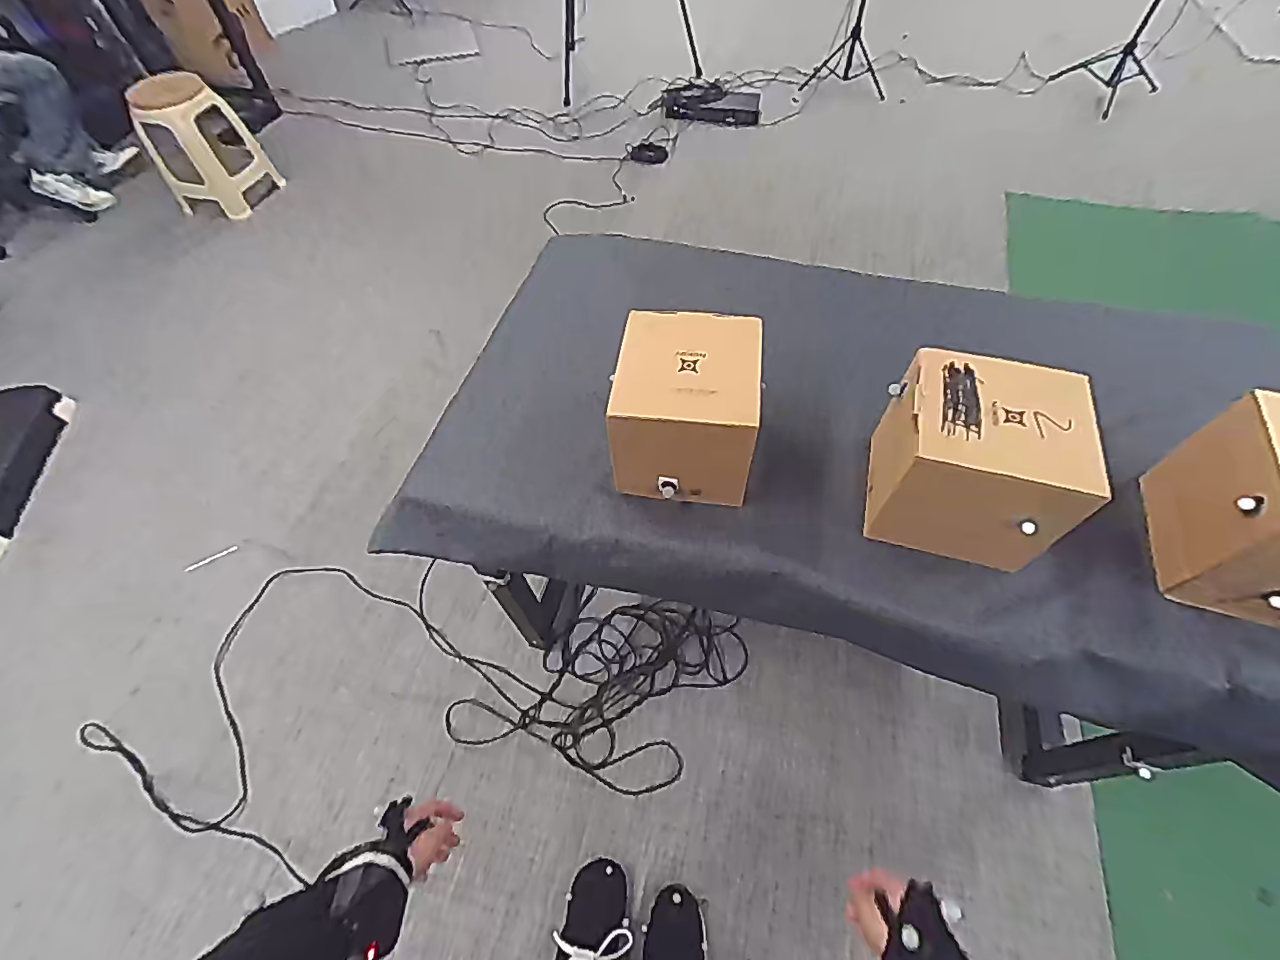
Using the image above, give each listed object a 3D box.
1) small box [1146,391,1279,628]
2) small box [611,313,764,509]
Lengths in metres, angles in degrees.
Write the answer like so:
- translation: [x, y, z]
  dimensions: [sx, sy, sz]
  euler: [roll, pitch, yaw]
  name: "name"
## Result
- translation: [0.691, 0.040, 0.572]
  dimensions: [0.168, 0.176, 0.179]
  euler: [15, 58, 13]
  name: "small box"
- translation: [0.062, -0.086, 0.686]
  dimensions: [0.168, 0.176, 0.179]
  euler: [5, 57, 7]
  name: "small box"
